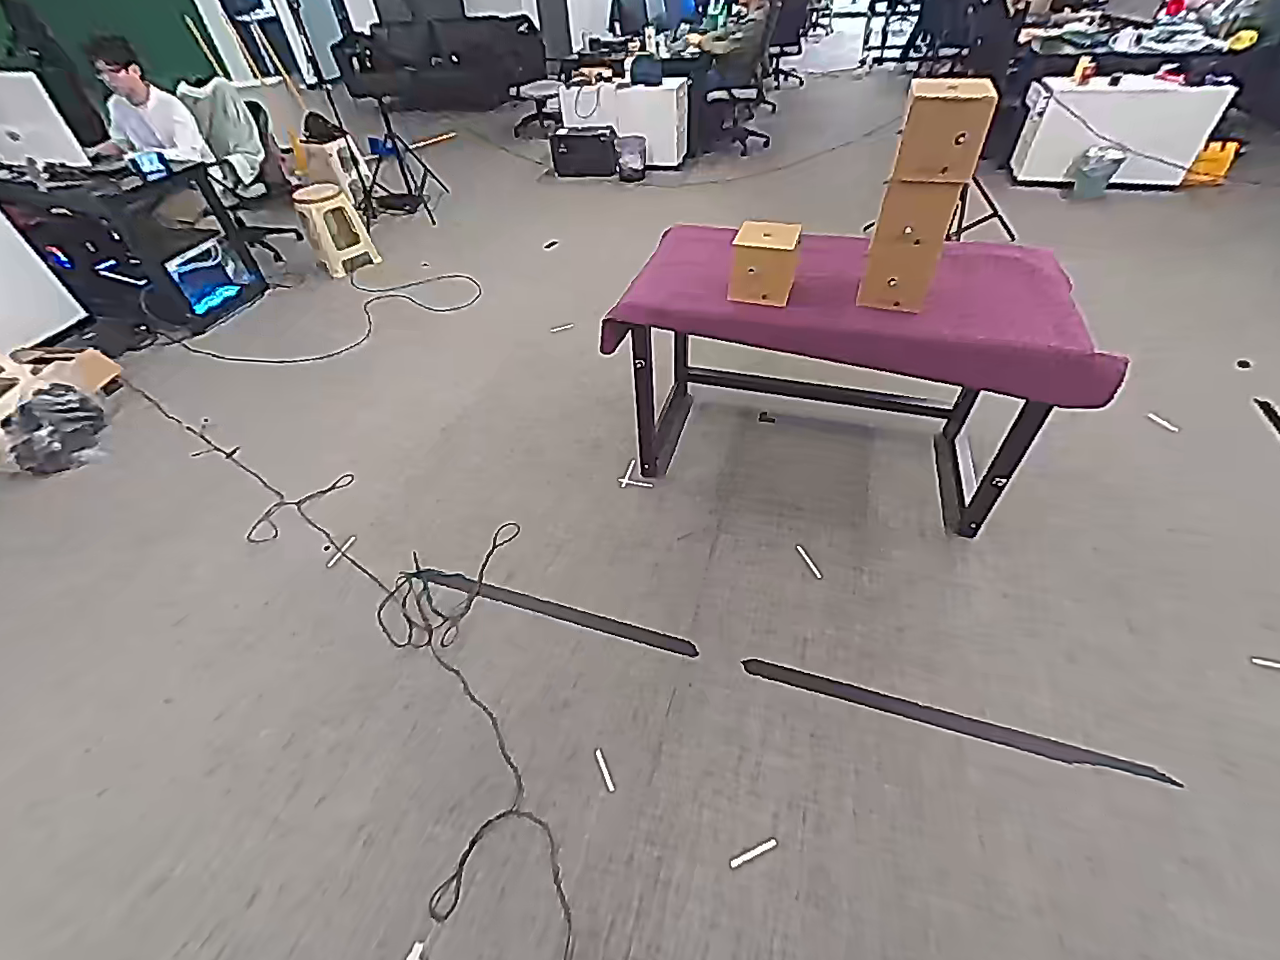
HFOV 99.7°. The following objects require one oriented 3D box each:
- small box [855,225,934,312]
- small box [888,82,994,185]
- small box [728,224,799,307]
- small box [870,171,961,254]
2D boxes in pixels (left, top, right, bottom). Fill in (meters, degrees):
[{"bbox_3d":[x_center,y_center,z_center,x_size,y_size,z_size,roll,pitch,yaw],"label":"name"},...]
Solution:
[{"bbox_3d":[0.700,-0.582,1.490,0.168,0.176,0.179,13,48,16],"label":"small box"},{"bbox_3d":[0.682,-0.797,1.245,0.168,0.176,0.179,11,47,13],"label":"small box"},{"bbox_3d":[0.350,-0.613,1.547,0.168,0.176,0.179,12,46,15],"label":"small box"},{"bbox_3d":[0.695,-0.699,1.375,0.168,0.176,0.179,13,48,16],"label":"small box"}]
